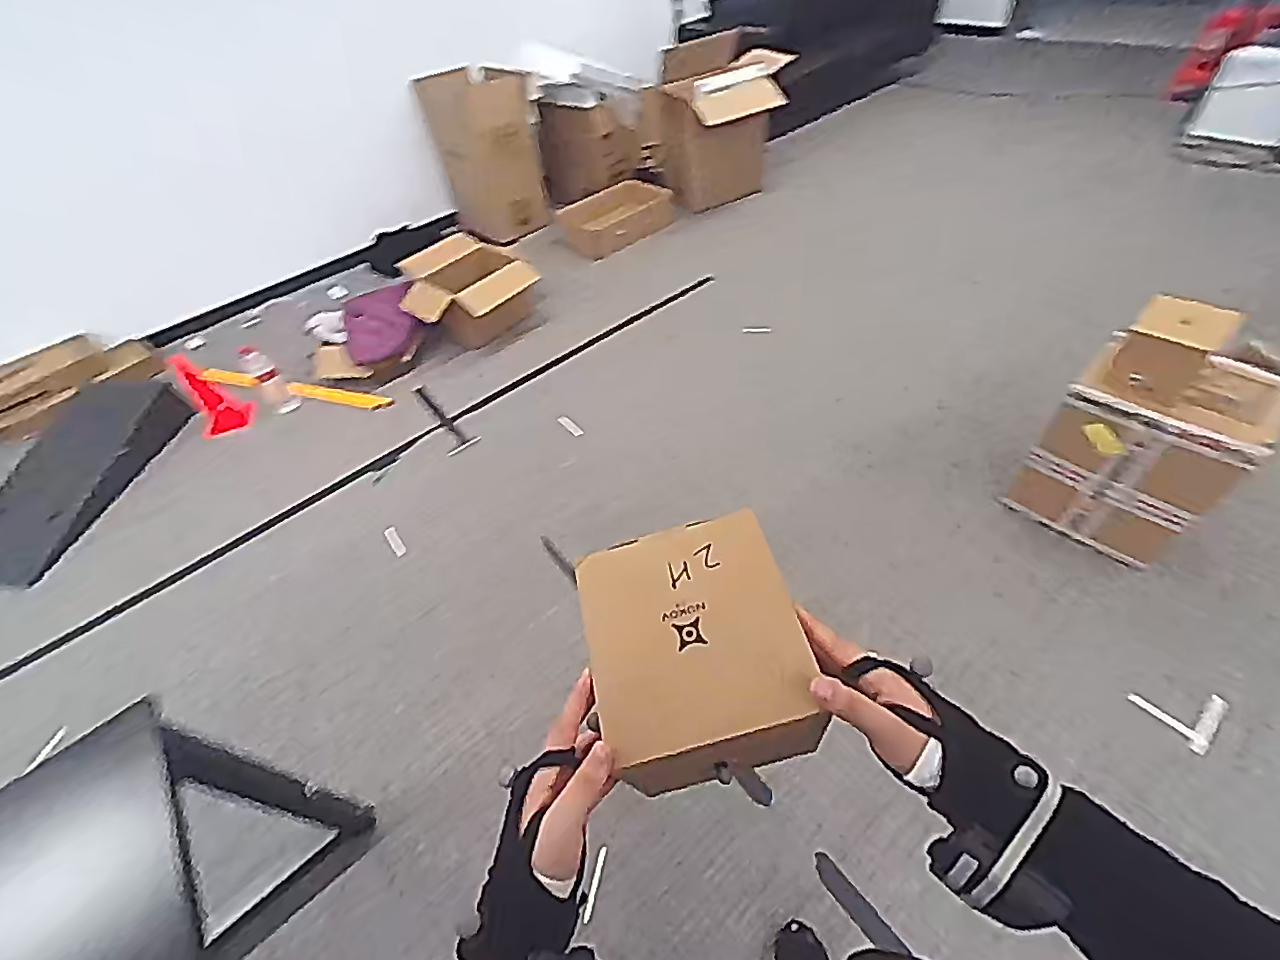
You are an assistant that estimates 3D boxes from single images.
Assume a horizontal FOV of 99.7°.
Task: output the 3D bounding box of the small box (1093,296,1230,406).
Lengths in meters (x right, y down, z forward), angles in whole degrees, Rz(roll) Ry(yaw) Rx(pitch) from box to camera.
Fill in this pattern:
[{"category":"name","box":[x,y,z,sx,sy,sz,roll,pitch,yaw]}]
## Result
[{"category":"small box","box":[1.274,-0.317,1.334,0.179,0.176,0.168,-41,54,-20]}]
